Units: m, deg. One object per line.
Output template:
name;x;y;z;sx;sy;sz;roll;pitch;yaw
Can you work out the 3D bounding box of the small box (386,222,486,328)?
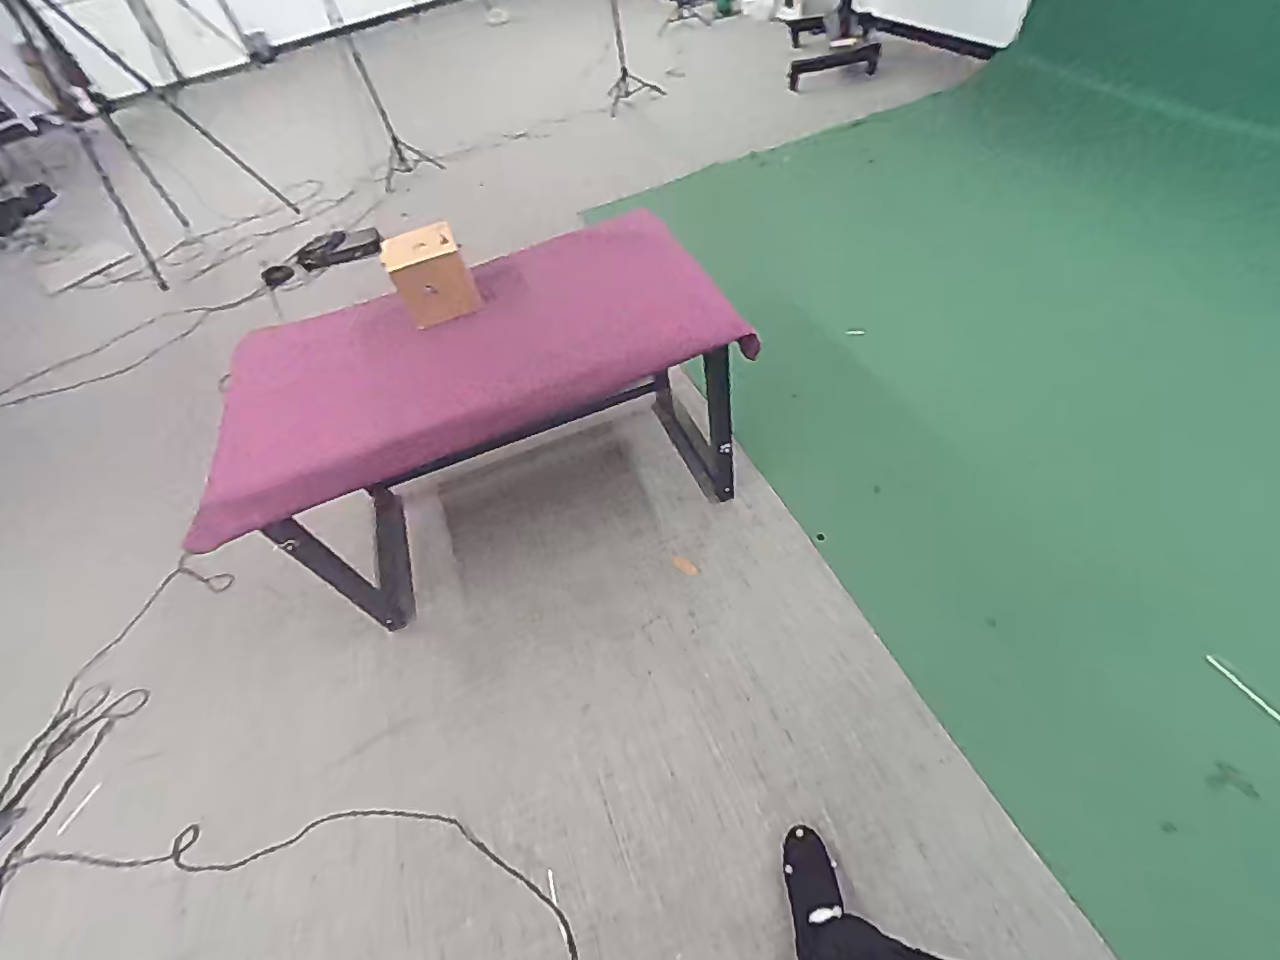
small box;-0.520;-0.520;1.383;0.179;0.176;0.168;-22;54;-6
